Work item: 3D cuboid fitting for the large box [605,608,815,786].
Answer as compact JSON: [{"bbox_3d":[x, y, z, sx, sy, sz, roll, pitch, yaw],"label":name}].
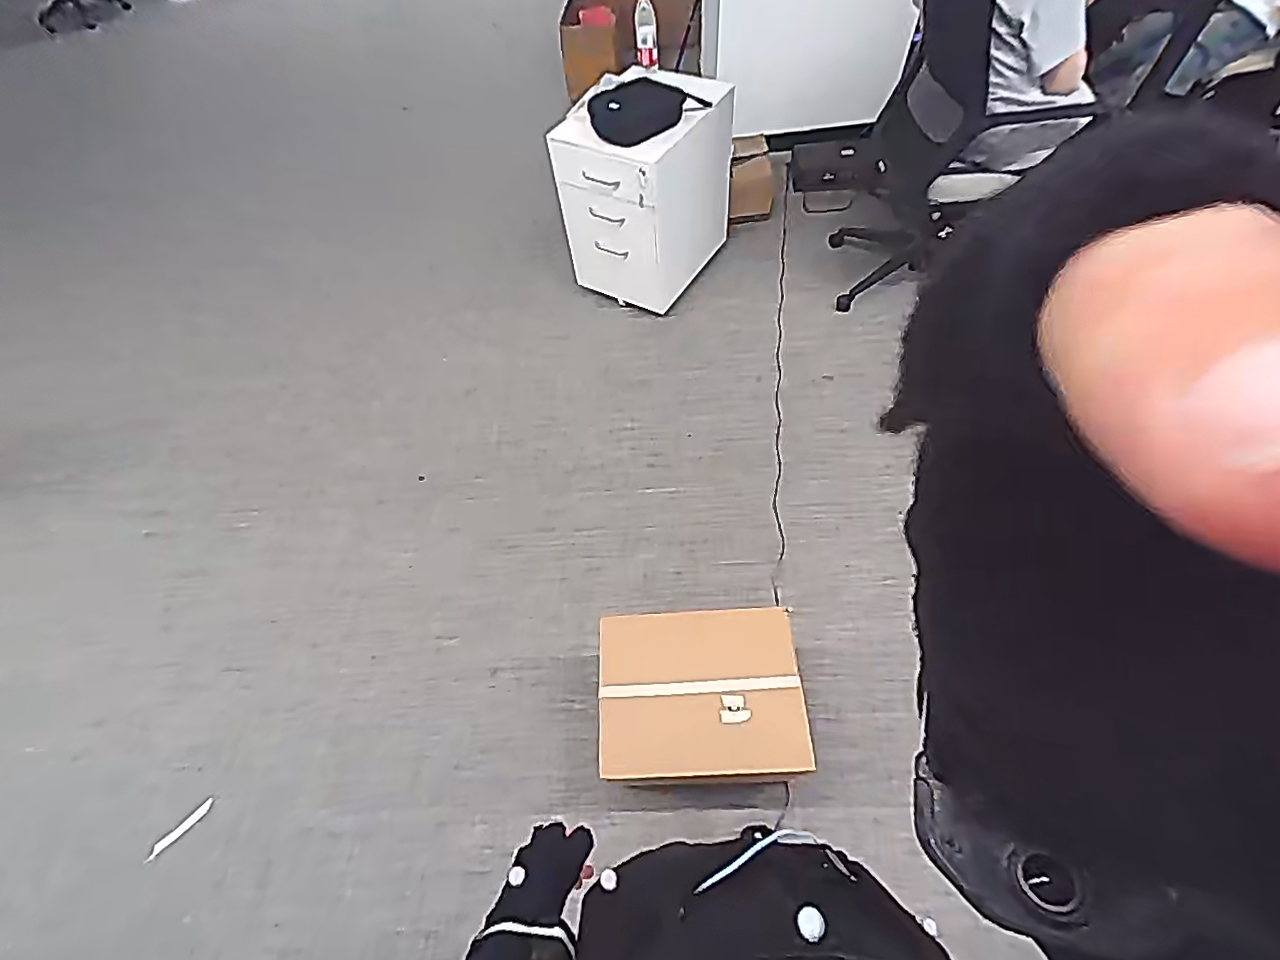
[{"bbox_3d":[0.138,0.501,1.227,0.408,0.320,0.320,-4,59,3],"label":"large box"}]
